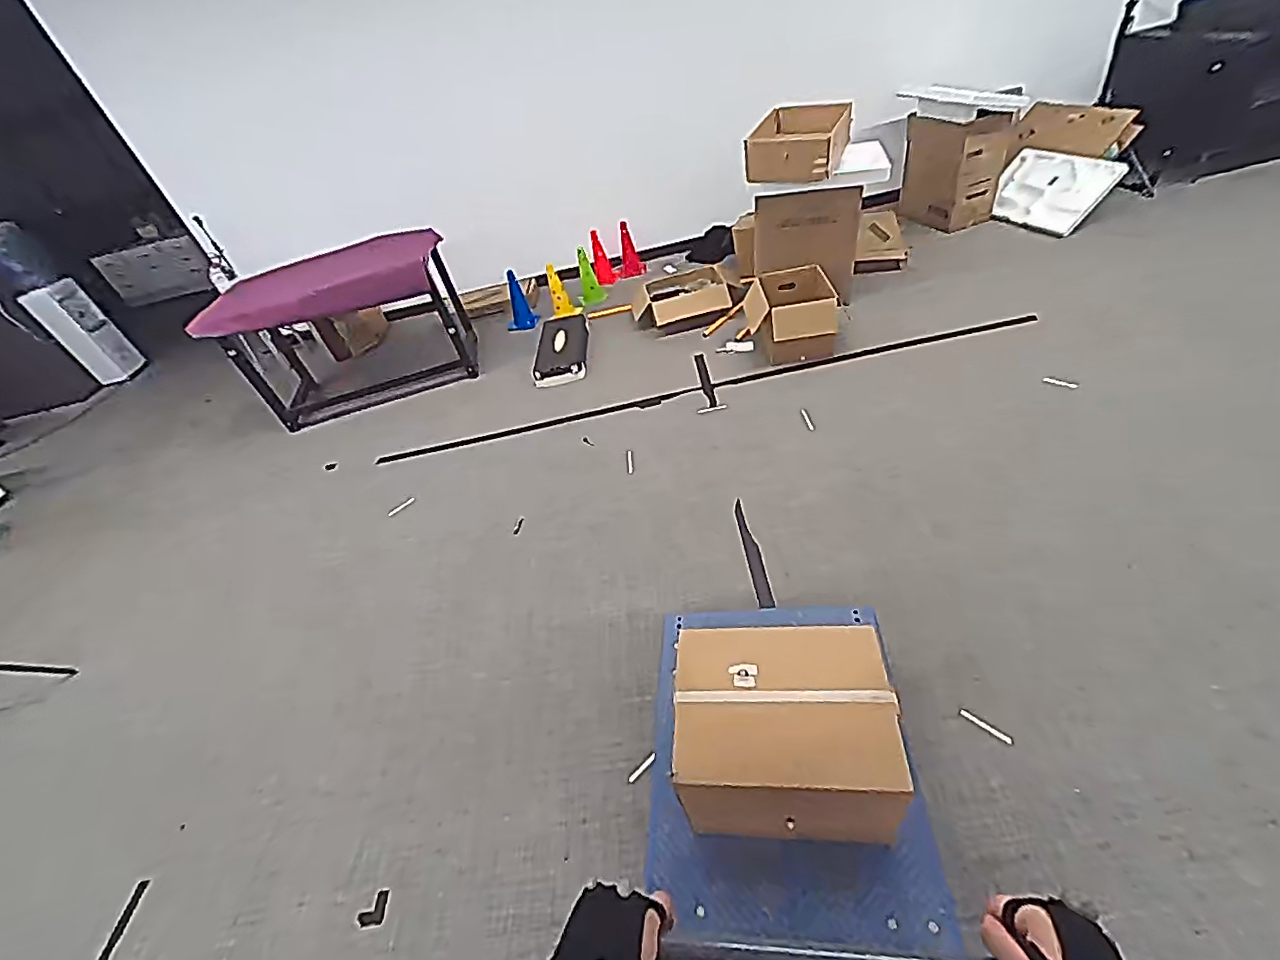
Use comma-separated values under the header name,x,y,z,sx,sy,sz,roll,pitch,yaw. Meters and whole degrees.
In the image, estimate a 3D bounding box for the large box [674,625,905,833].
name,x,y,z,sx,sy,sz,roll,pitch,yaw
large box,0.300,0.534,1.152,0.408,0.320,0.320,-6,41,12
